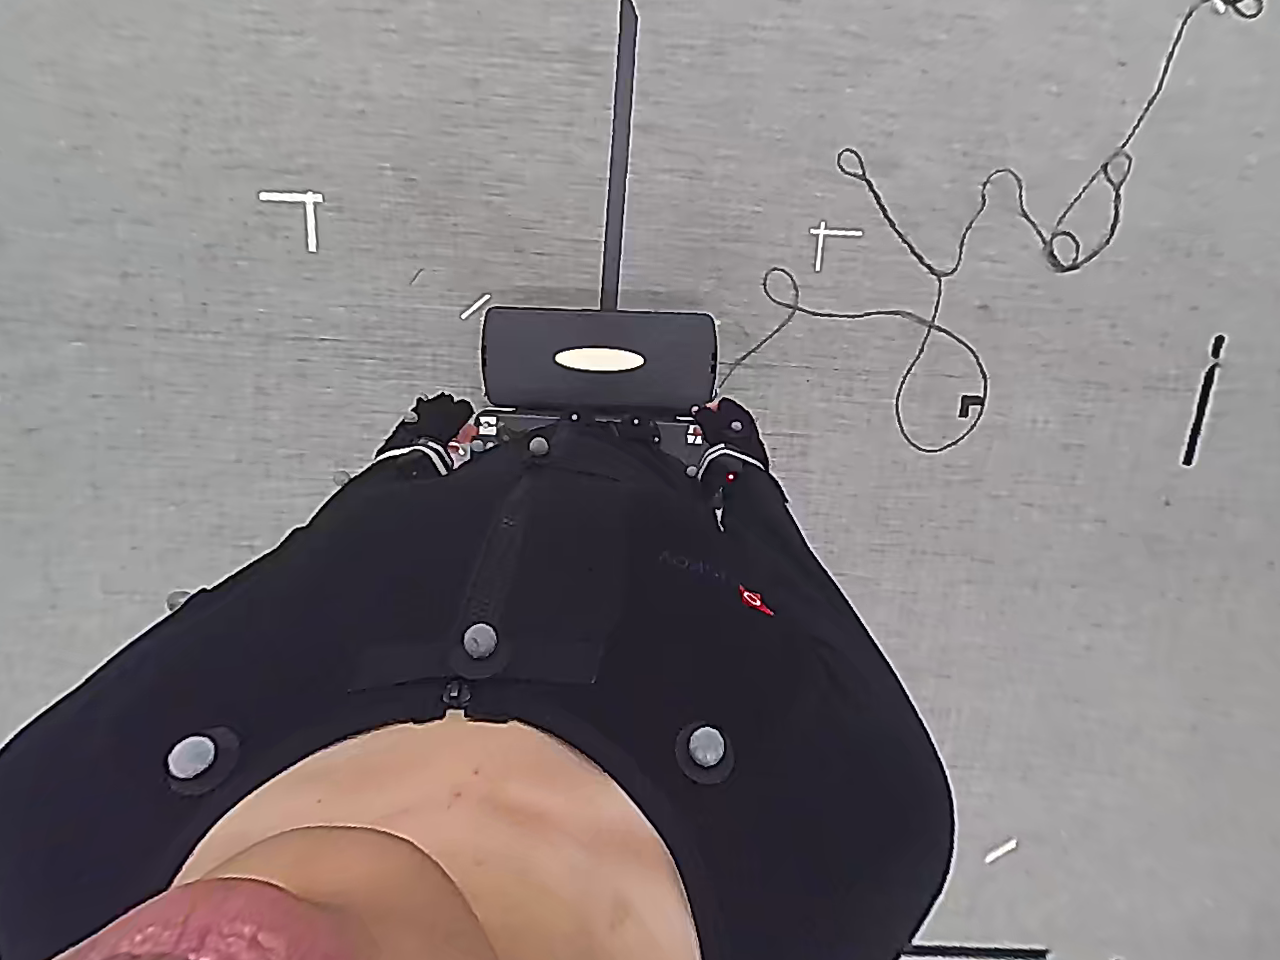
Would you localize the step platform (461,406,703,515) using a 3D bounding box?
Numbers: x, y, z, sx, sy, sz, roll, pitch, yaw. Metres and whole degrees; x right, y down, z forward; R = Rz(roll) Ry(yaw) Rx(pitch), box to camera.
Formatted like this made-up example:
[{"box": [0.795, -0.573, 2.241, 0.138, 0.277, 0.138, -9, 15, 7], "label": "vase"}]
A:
[{"box": [-0.160, -0.058, 1.564, 0.684, 0.204, 0.286, 2, 99, 0], "label": "step platform"}]
